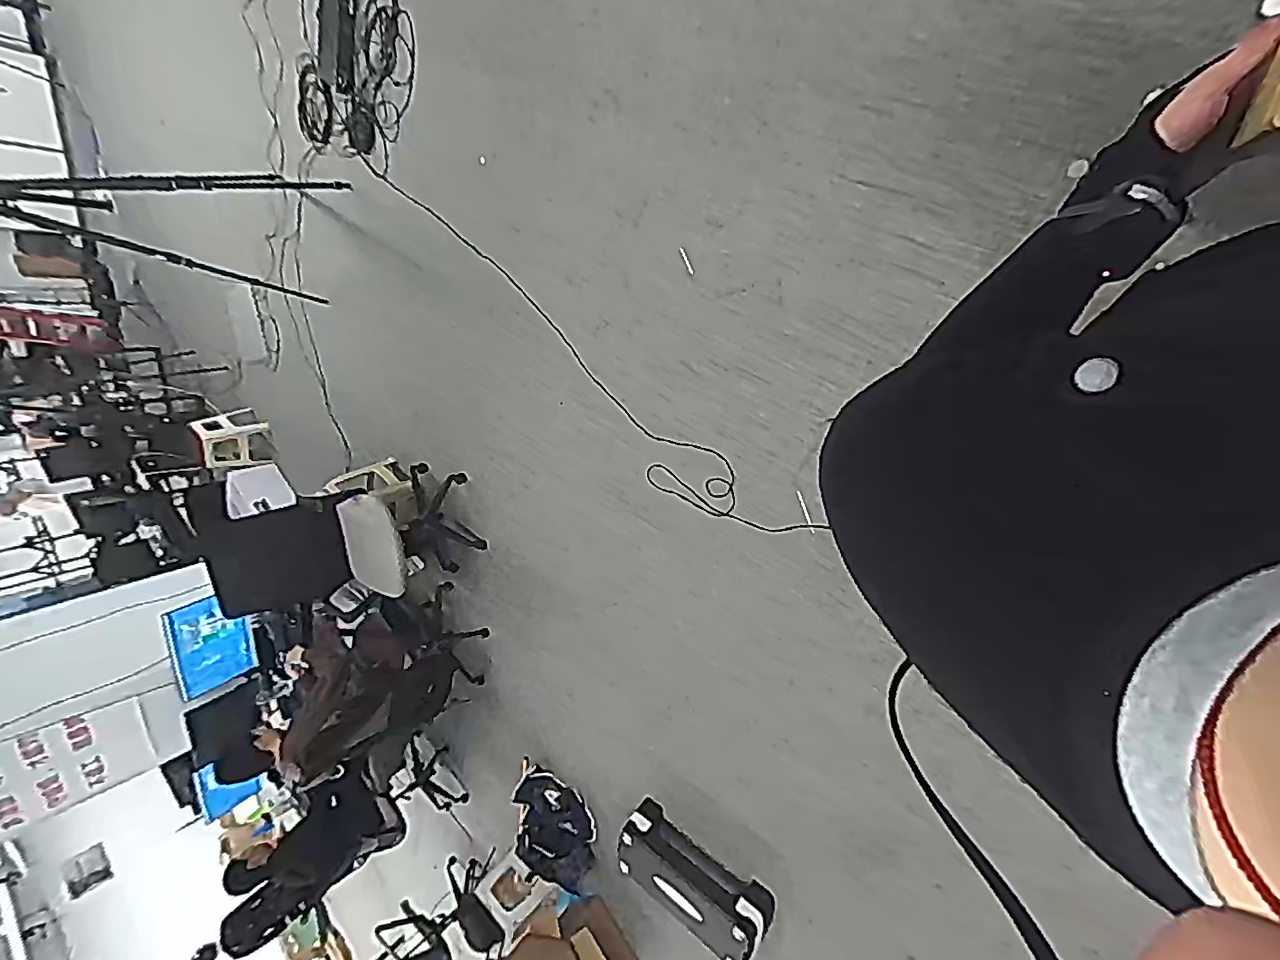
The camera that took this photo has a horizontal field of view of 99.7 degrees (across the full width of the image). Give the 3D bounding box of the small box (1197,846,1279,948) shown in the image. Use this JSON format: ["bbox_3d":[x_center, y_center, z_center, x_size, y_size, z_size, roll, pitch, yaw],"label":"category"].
[{"bbox_3d":[1.390,0.970,1.192,0.168,0.176,0.179,29,119,26],"label":"small box"}]

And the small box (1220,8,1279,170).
[{"bbox_3d":[0.495,-0.281,0.313,0.179,0.176,0.168,20,122,33],"label":"small box"}]

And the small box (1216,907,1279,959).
[{"bbox_3d":[1.296,1.008,1.062,0.168,0.176,0.179,29,120,27],"label":"small box"}]
